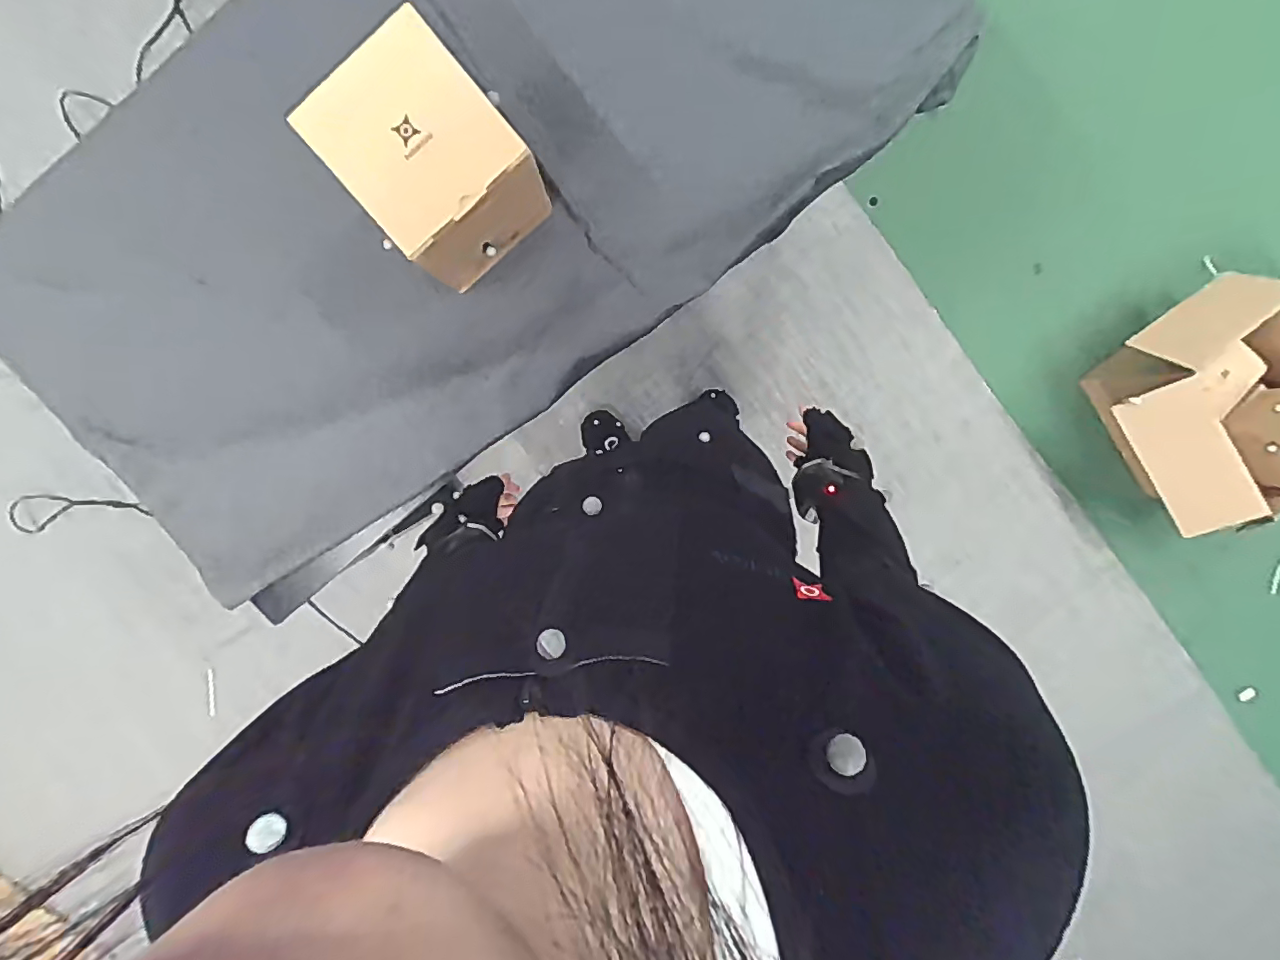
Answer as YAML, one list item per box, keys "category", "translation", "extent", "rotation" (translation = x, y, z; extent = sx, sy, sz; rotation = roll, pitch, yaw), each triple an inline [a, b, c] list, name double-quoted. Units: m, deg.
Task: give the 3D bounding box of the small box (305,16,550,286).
- category: "small box"
  translation: [-0.227, -0.356, 0.629]
  extent: [0.168, 0.176, 0.179]
  rotation: [-41, 98, 4]
